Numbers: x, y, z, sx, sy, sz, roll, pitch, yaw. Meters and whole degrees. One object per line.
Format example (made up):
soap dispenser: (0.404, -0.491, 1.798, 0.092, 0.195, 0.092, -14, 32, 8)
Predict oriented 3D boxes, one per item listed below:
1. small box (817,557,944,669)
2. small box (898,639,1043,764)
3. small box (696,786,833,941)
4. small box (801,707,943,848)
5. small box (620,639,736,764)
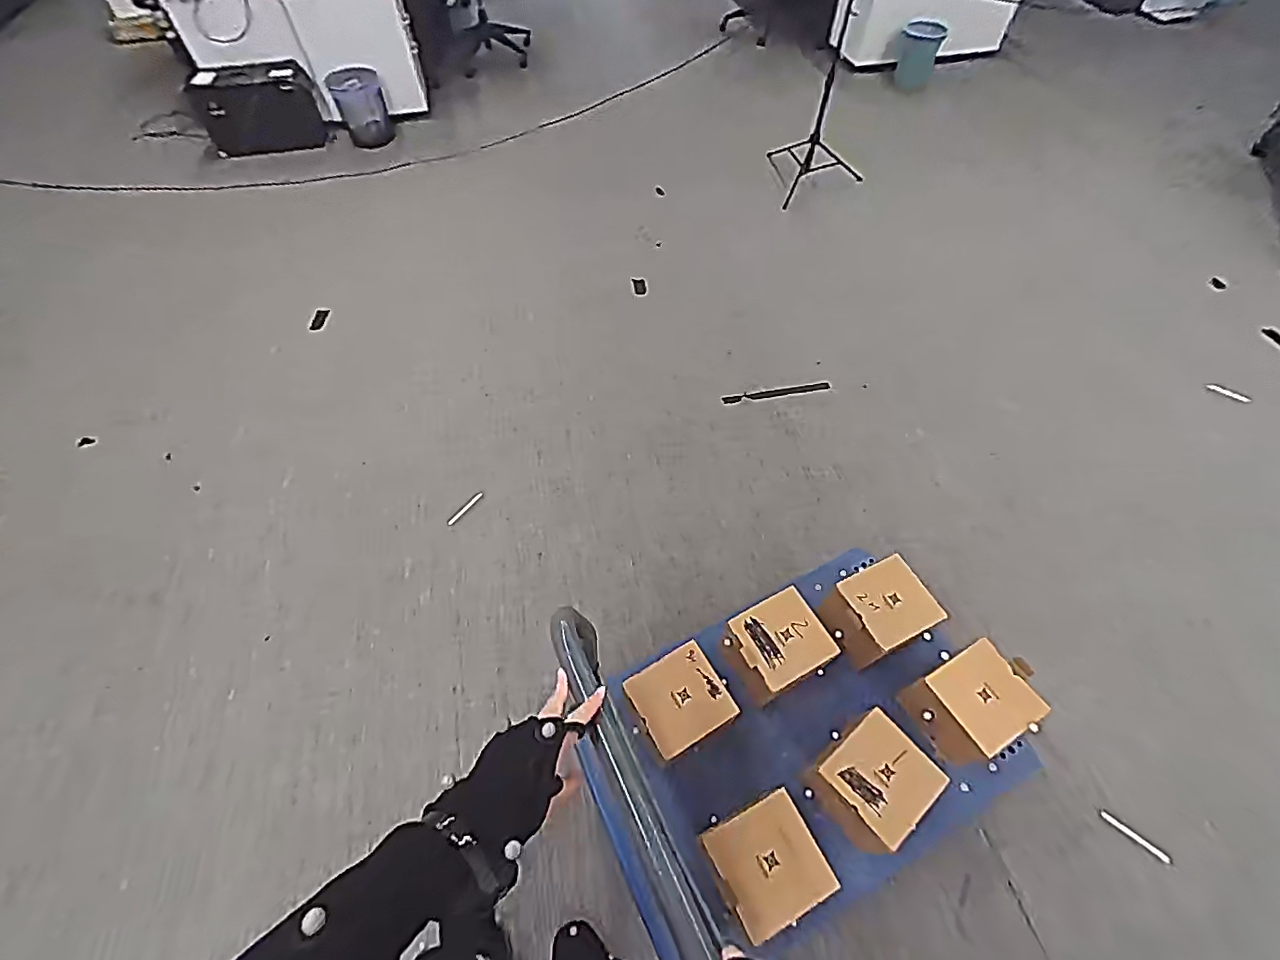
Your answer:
small box: (0.535, 0.306, 1.232, 0.179, 0.176, 0.168, -21, 59, -13)
small box: (0.672, 0.467, 1.131, 0.179, 0.176, 0.168, -25, 60, -16)
small box: (0.212, 0.688, 0.983, 0.179, 0.176, 0.168, -22, 60, -15)
small box: (0.436, 0.581, 1.054, 0.179, 0.176, 0.168, -33, 63, -21)
small box: (0.074, 0.465, 1.125, 0.179, 0.176, 0.168, -26, 62, -16)
